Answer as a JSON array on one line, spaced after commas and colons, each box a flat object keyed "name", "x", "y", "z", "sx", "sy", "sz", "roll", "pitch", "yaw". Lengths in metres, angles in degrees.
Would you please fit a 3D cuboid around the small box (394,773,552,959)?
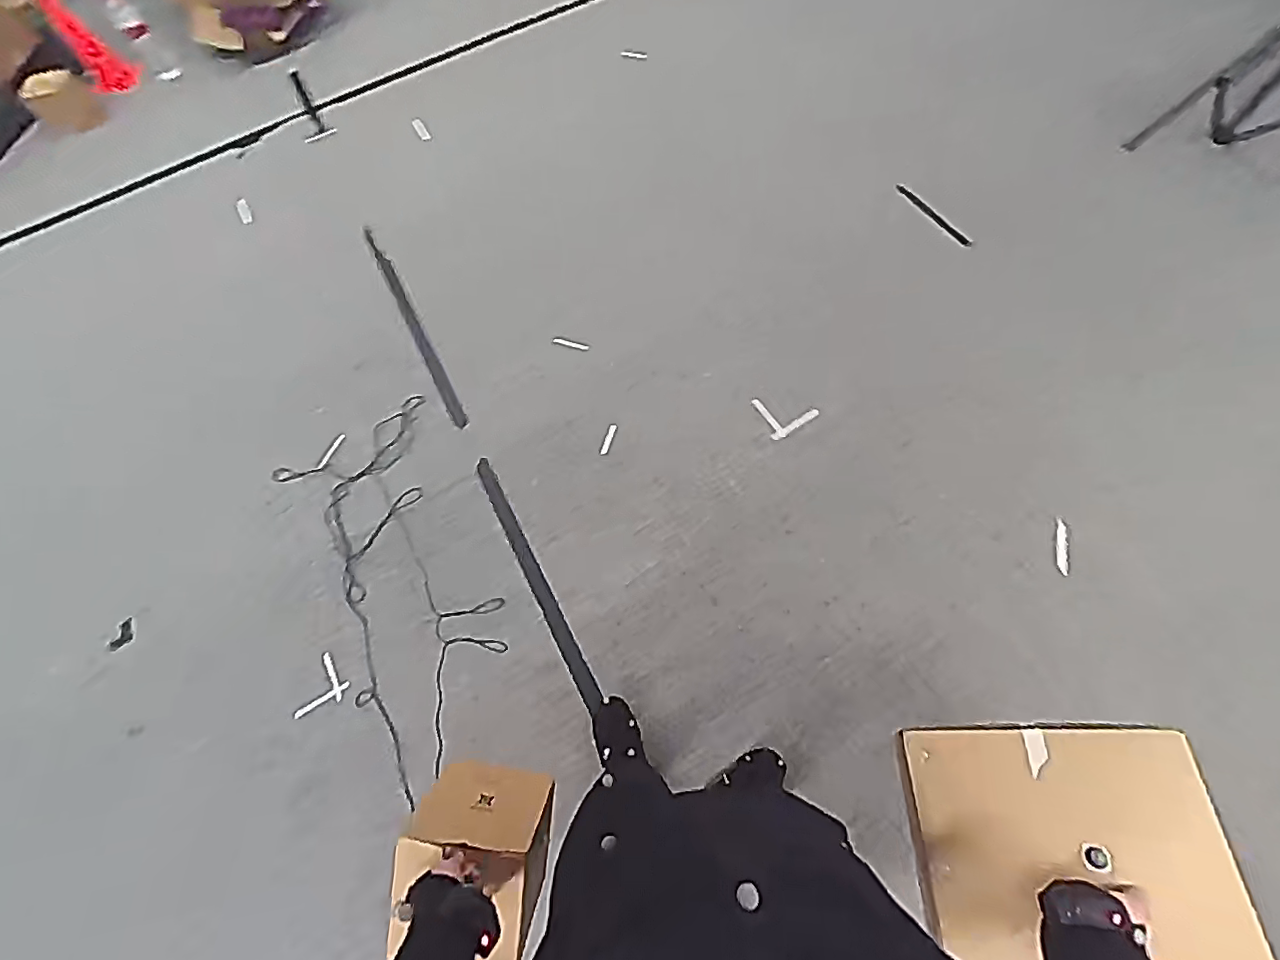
[{"name": "small box", "x": -0.223, "y": 0.542, "z": 0.748, "sx": 0.168, "sy": 0.179, "sz": 0.176, "roll": 5, "pitch": 92, "yaw": 1}]
